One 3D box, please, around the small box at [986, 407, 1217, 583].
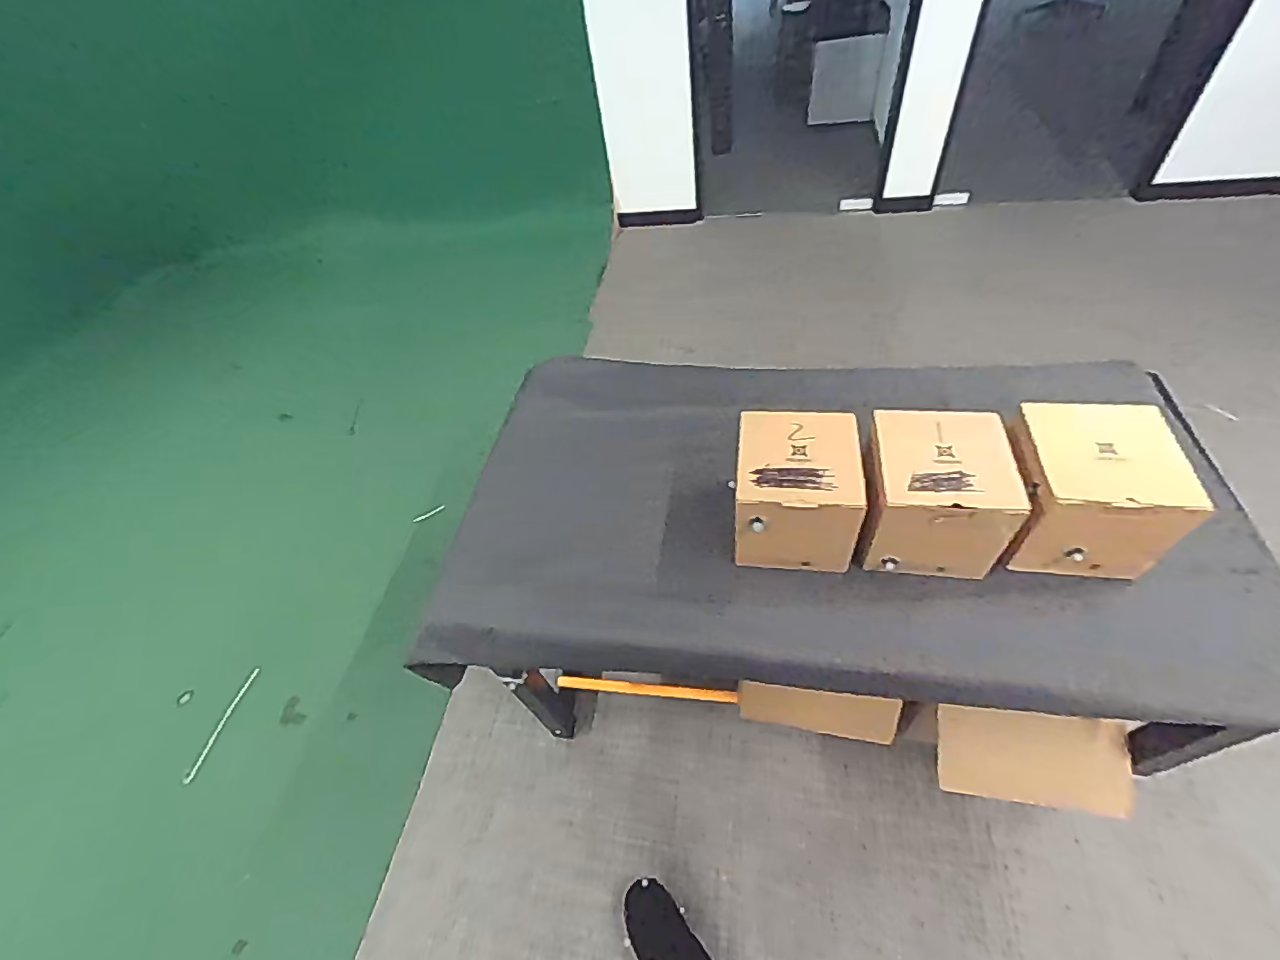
[{"bbox_3d":[0.613,0.020,0.753,0.168,0.176,0.179,3,52,12],"label":"small box"}]
